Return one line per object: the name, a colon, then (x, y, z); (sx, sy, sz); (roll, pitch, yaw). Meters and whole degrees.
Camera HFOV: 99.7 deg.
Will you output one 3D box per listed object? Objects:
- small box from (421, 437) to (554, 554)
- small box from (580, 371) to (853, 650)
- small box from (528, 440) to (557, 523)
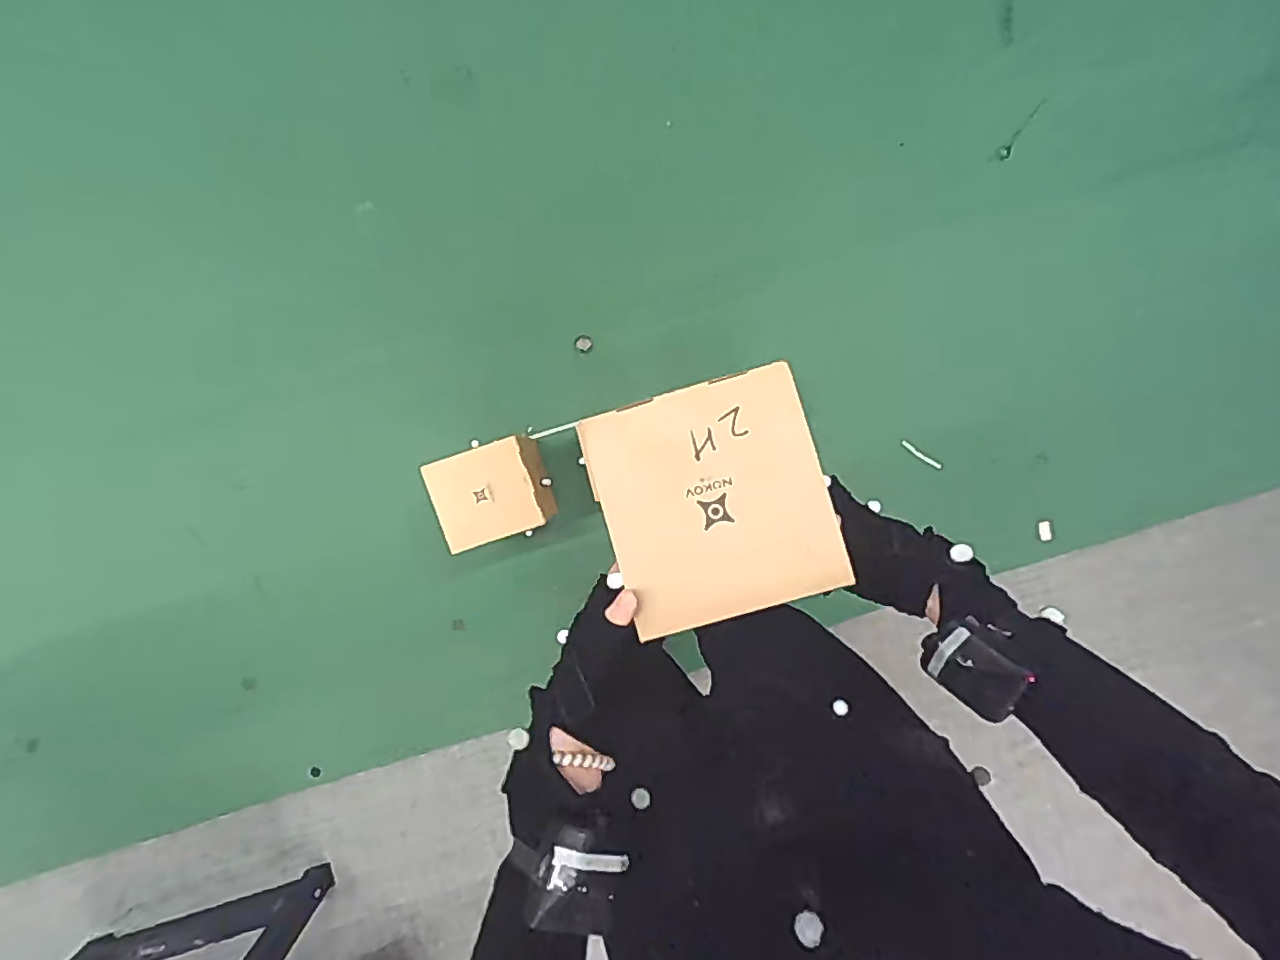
small box: (-0.276, 0.025, 1.019); (0.179, 0.176, 0.168); (-19, 94, -2)
small box: (0.060, 0.025, 0.478); (0.168, 0.176, 0.179); (-16, 86, 3)
small box: (-0.288, 0.017, 1.181); (0.168, 0.176, 0.179); (-18, 95, -2)
